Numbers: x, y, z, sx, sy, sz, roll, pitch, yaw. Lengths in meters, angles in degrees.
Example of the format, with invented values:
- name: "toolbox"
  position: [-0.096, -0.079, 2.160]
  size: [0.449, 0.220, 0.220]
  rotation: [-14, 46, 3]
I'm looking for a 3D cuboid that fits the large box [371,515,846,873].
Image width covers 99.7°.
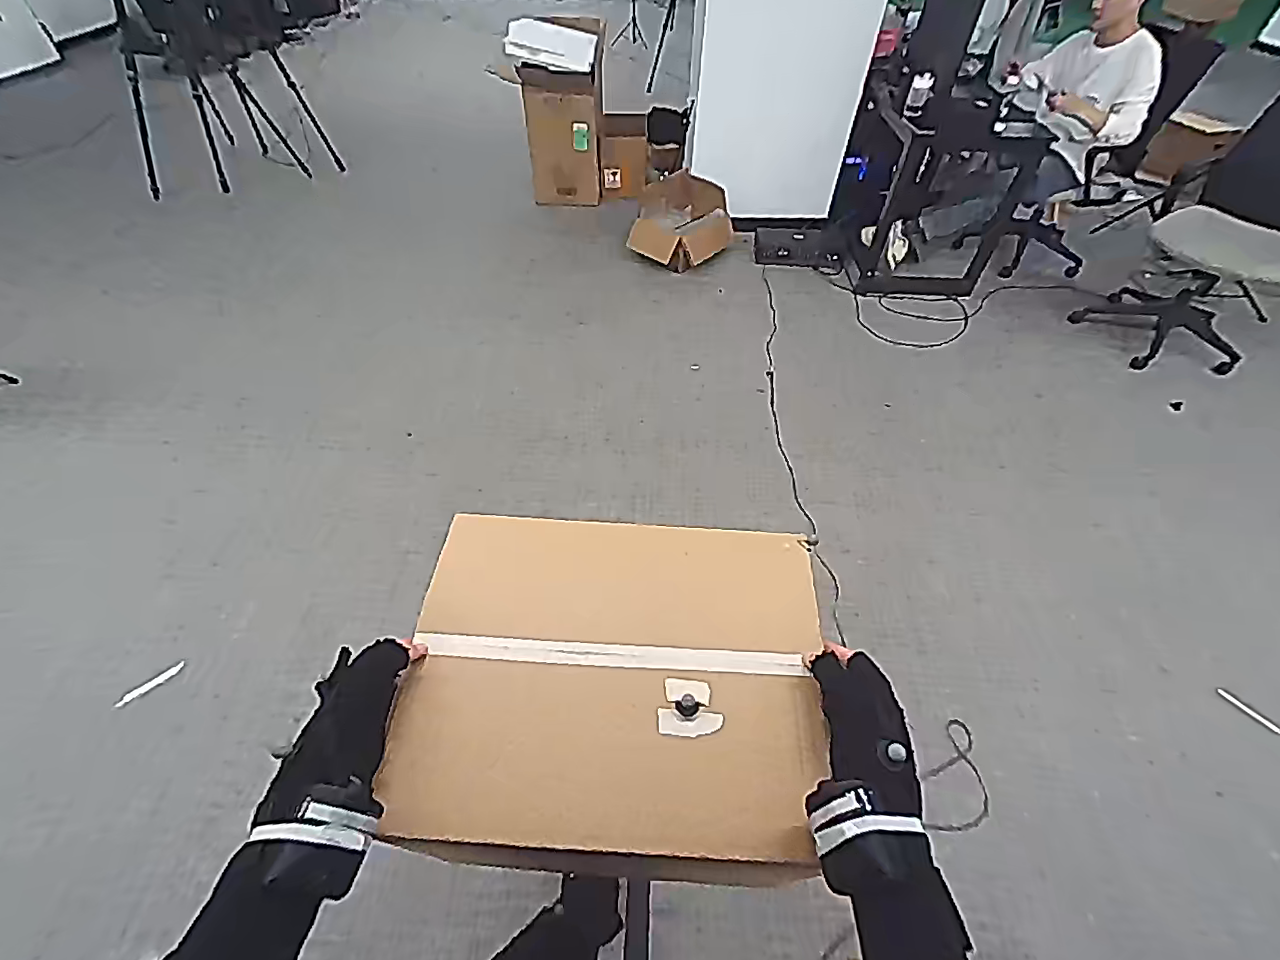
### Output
- name: "large box"
  position: [-0.026, 0.263, 0.652]
  size: [0.408, 0.320, 0.320]
  rotation: [4, 51, 1]
